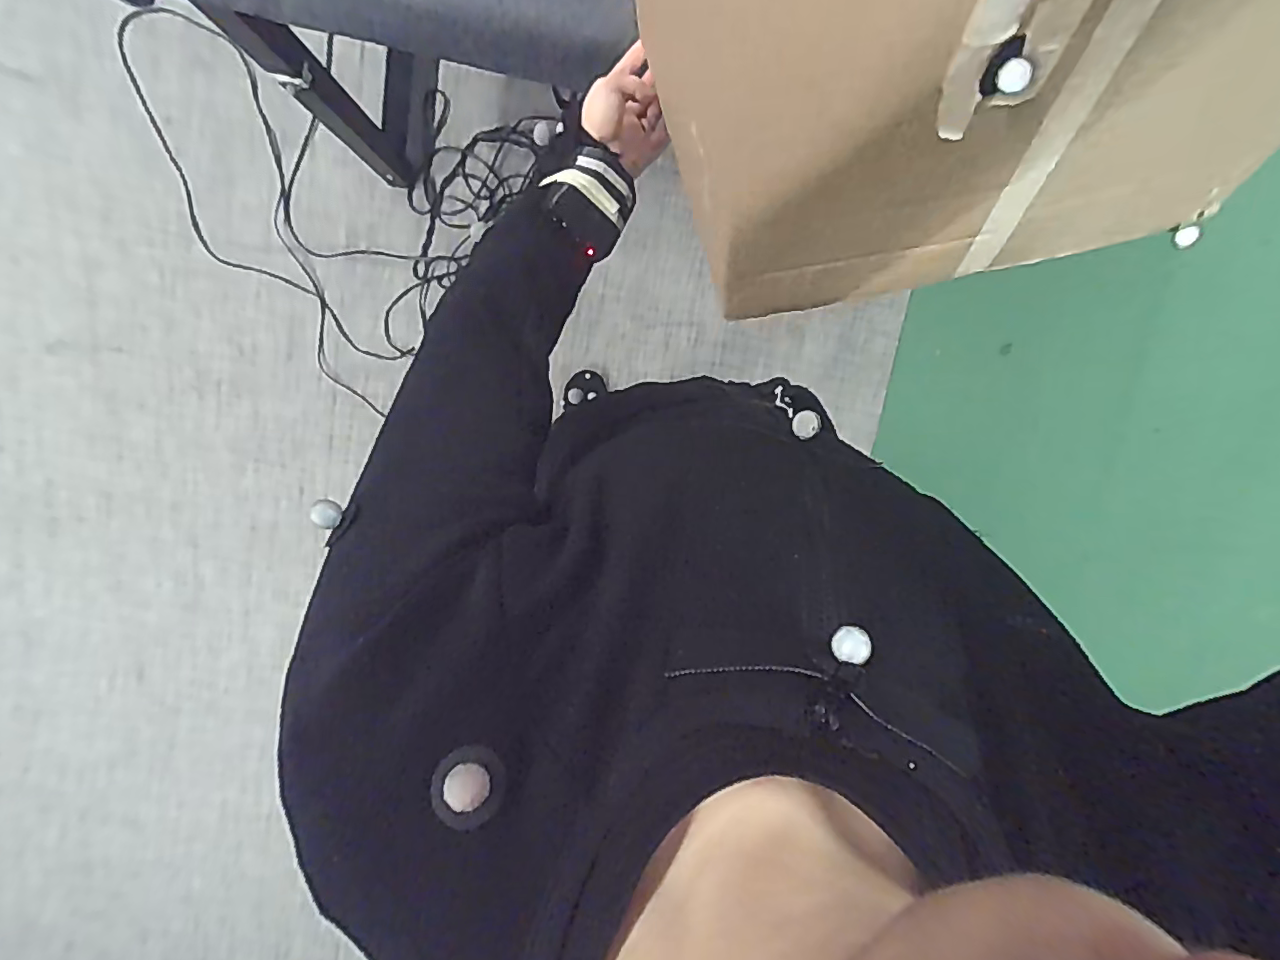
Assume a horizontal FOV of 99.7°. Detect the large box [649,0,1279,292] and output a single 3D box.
[{"bbox_3d":[0.161,-0.366,0.231,0.320,0.408,0.320,-13,68,3],"label":"large box"}]
